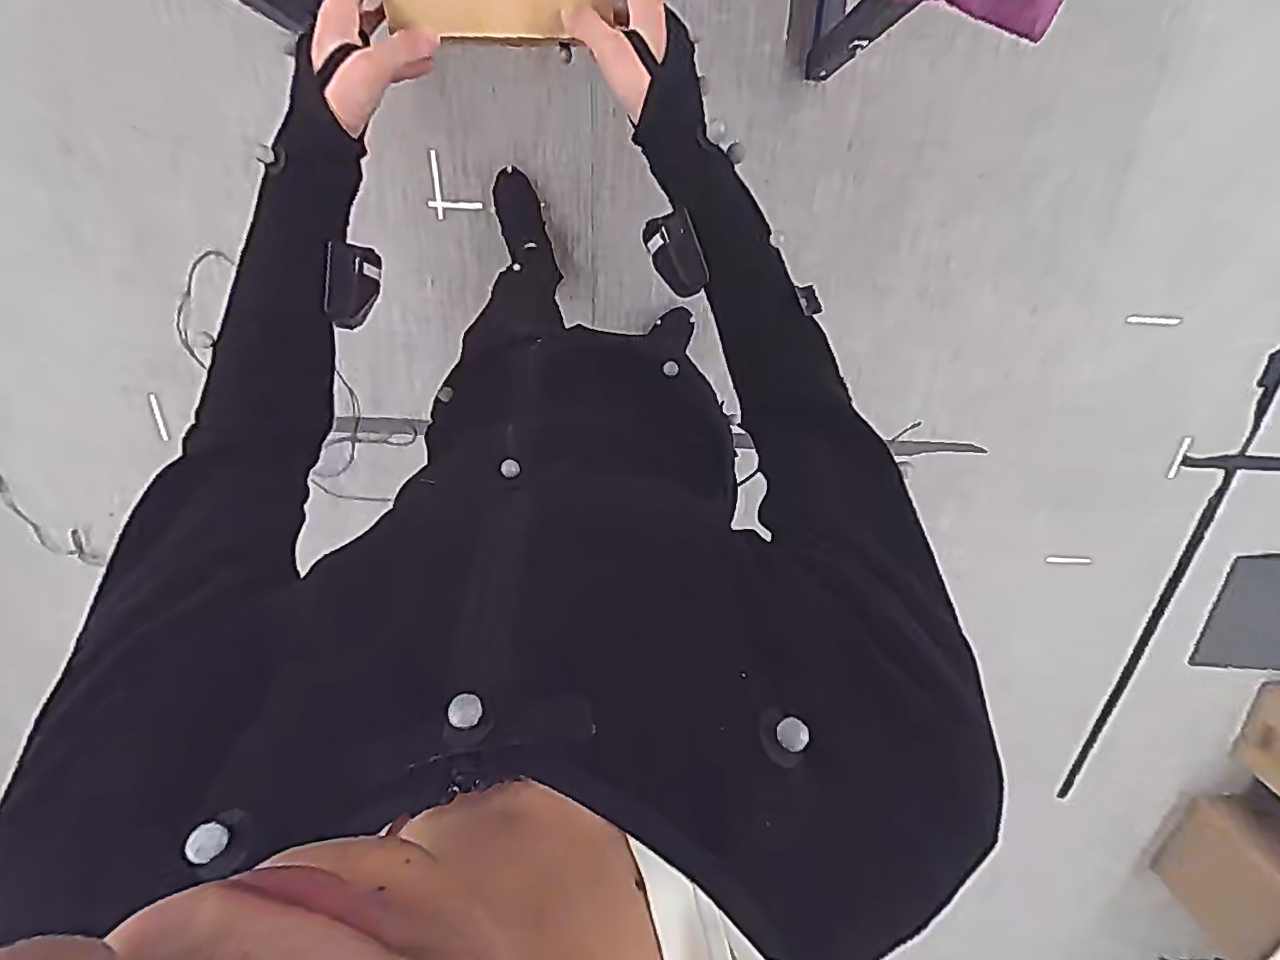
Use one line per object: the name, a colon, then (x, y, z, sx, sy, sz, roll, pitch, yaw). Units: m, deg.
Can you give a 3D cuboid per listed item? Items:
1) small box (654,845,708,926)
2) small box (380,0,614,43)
small box: (0.141, 1.424, 1.903, 0.168, 0.176, 0.179, 0, 114, -3)
small box: (-0.116, -0.459, 0.431, 0.179, 0.176, 0.168, -5, 128, -7)
